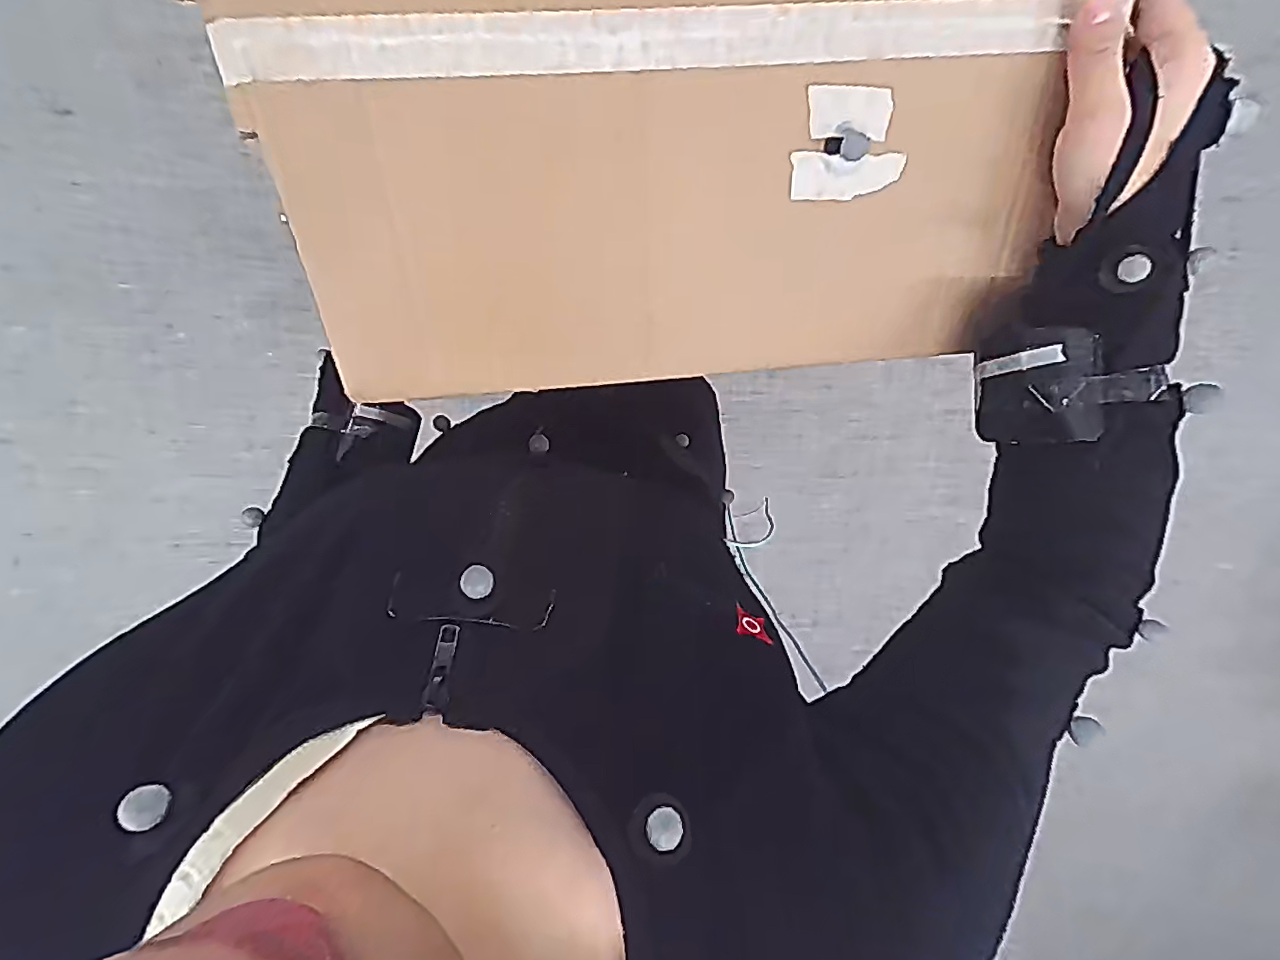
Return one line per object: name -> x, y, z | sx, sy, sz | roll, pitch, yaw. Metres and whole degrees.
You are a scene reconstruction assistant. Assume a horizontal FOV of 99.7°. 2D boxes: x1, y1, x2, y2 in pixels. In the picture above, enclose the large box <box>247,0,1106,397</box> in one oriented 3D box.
large box -> 0.010, -0.274, 0.382 | 0.408, 0.320, 0.320 | -7, 120, -6
